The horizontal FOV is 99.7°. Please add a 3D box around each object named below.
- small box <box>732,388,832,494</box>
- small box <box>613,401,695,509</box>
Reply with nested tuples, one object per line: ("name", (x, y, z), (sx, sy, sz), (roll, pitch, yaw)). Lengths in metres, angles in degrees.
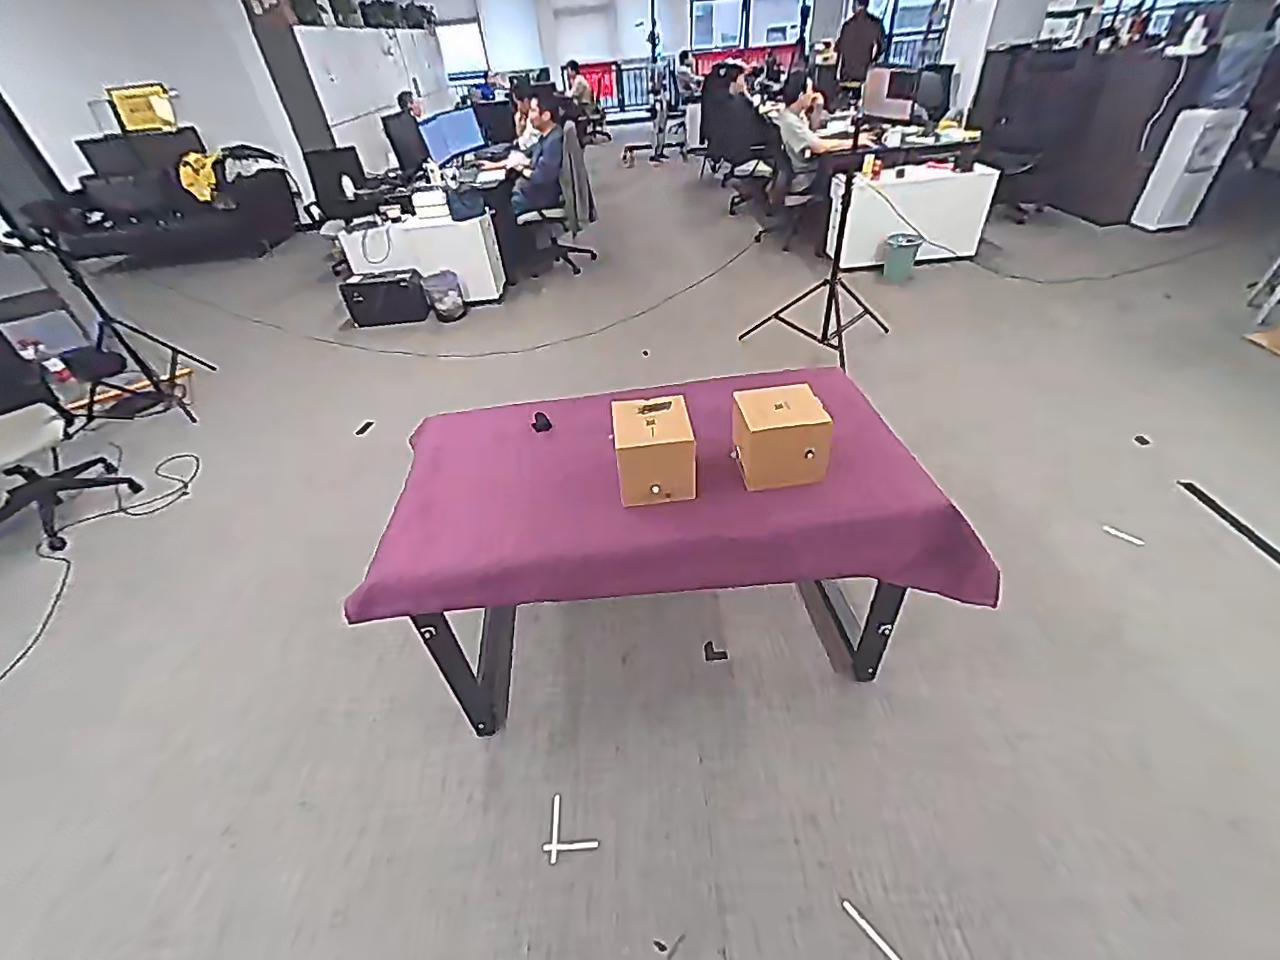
("small box", (0.313, -0.088, 1.230), (0.179, 0.176, 0.168), (-9, 37, -1))
("small box", (0.030, -0.057, 1.225), (0.168, 0.176, 0.179), (-7, 39, -1))
